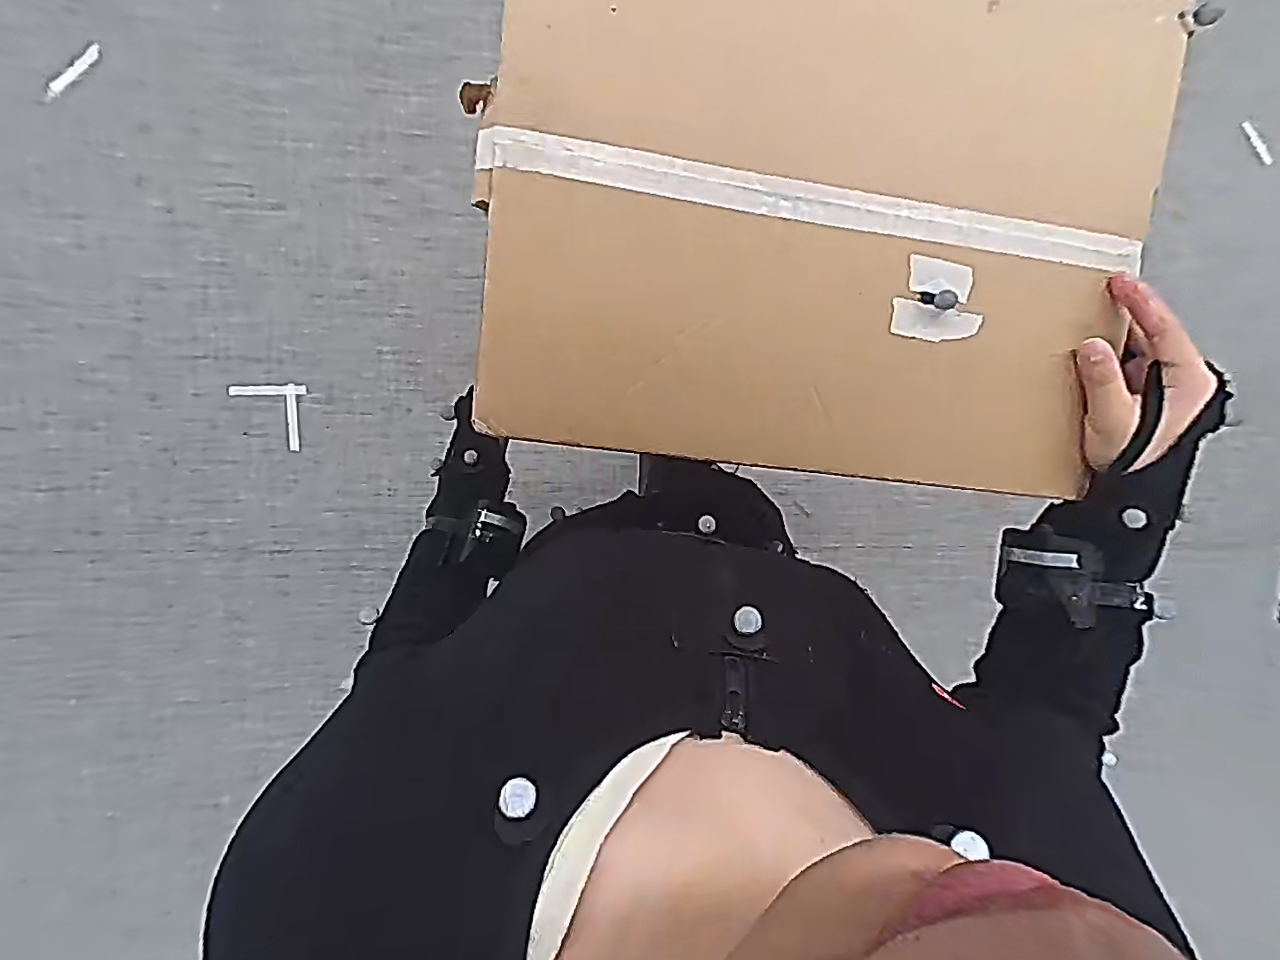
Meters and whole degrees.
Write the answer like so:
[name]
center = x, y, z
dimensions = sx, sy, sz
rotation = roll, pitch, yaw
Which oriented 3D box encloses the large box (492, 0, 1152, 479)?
[large box]
center = 0.097, -0.185, 0.479
dimensions = 0.408, 0.320, 0.320
rotation = 5, 98, -9
